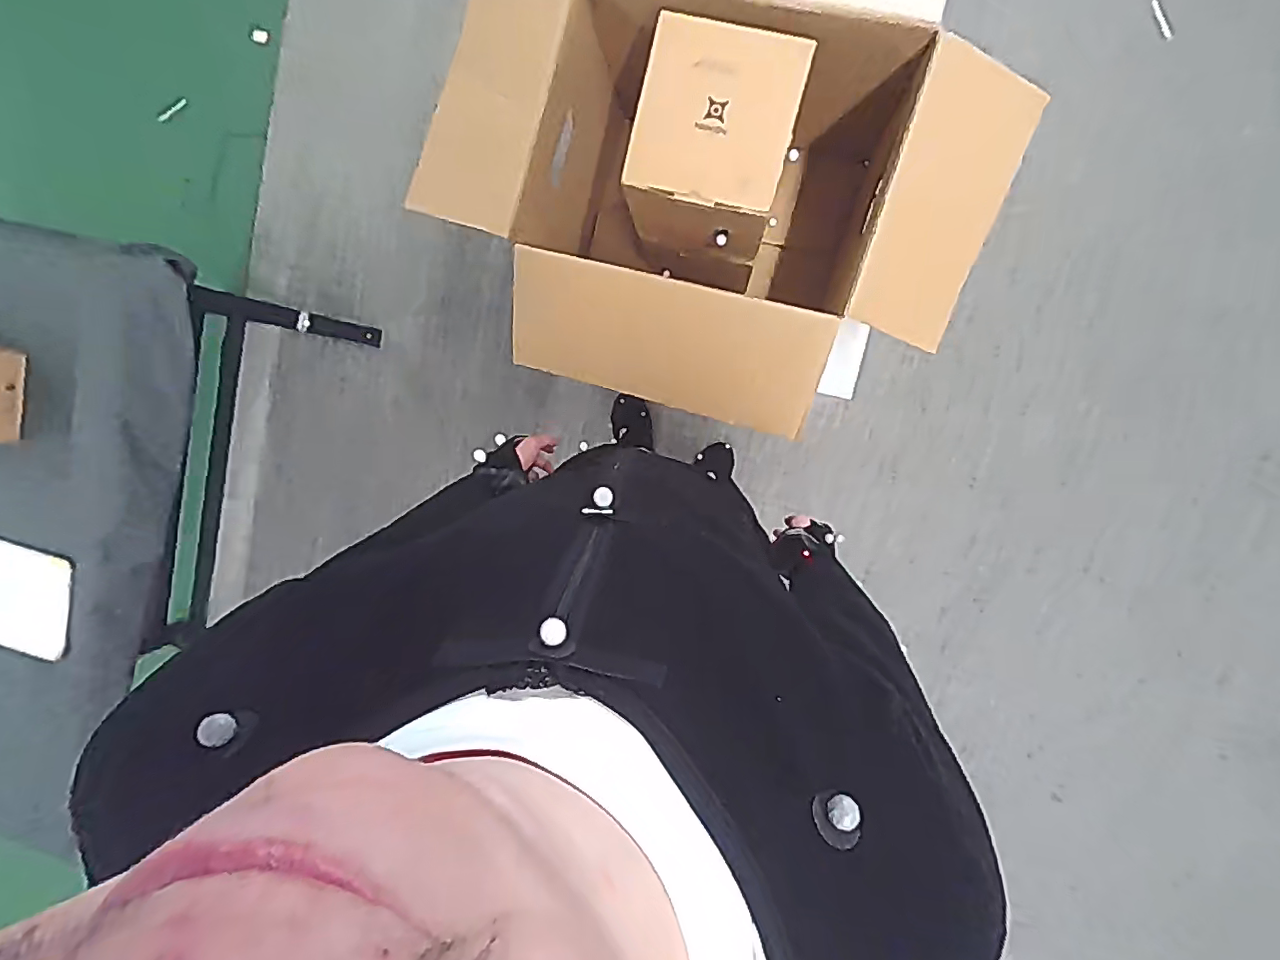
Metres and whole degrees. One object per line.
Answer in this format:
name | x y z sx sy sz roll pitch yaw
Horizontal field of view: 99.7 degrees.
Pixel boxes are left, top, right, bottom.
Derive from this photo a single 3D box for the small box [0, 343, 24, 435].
small box | -1.221 -0.170 0.920 0.179 0.176 0.168 15 98 5
